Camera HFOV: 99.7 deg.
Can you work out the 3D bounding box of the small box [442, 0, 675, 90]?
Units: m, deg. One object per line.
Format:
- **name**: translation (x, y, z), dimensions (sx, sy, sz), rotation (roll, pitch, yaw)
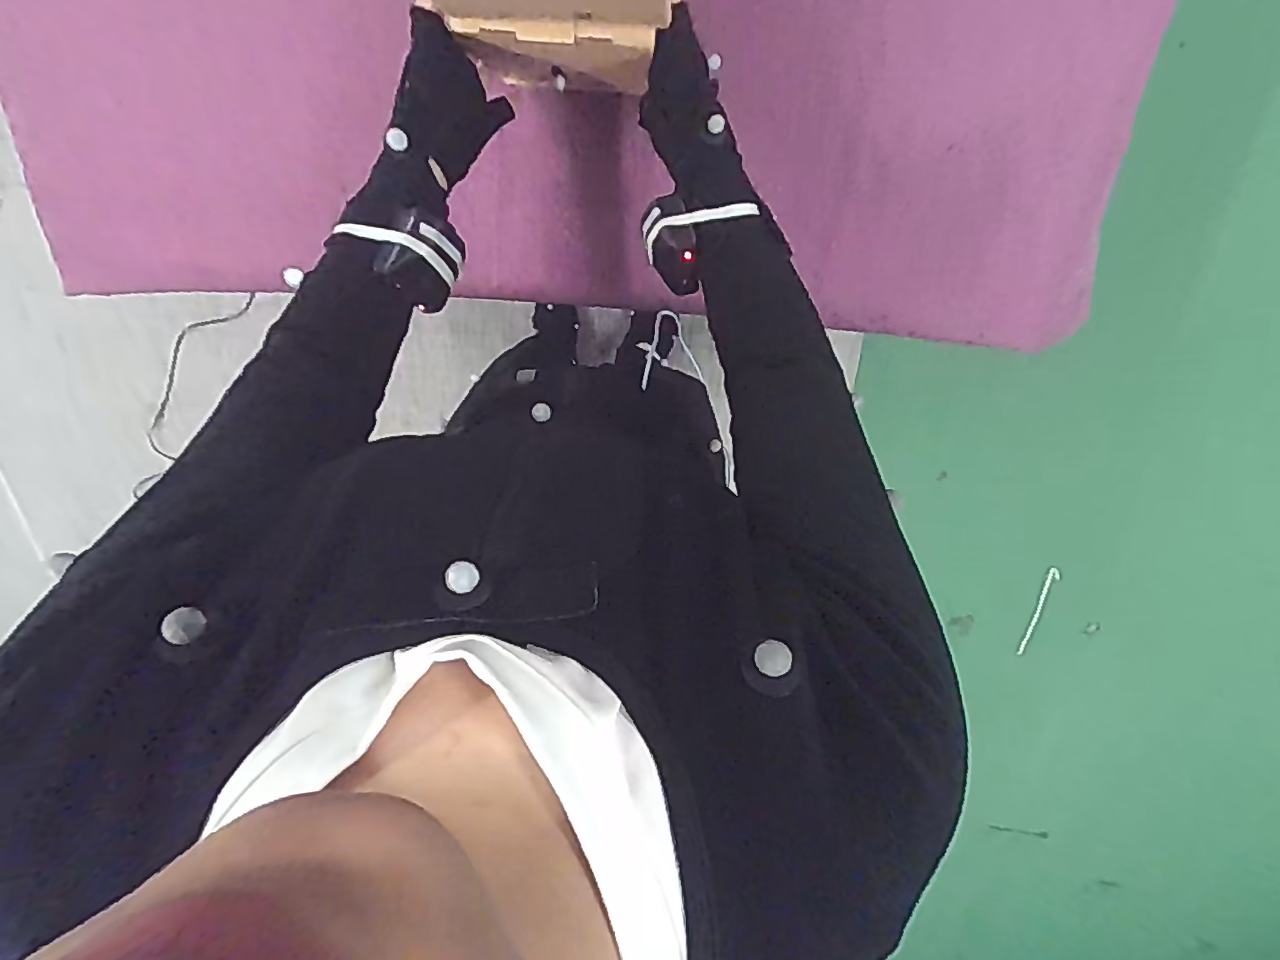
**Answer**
- **small box**: translation (-0.053, -0.446, 0.440), dimensions (0.168, 0.176, 0.179), rotation (7, 117, 2)
